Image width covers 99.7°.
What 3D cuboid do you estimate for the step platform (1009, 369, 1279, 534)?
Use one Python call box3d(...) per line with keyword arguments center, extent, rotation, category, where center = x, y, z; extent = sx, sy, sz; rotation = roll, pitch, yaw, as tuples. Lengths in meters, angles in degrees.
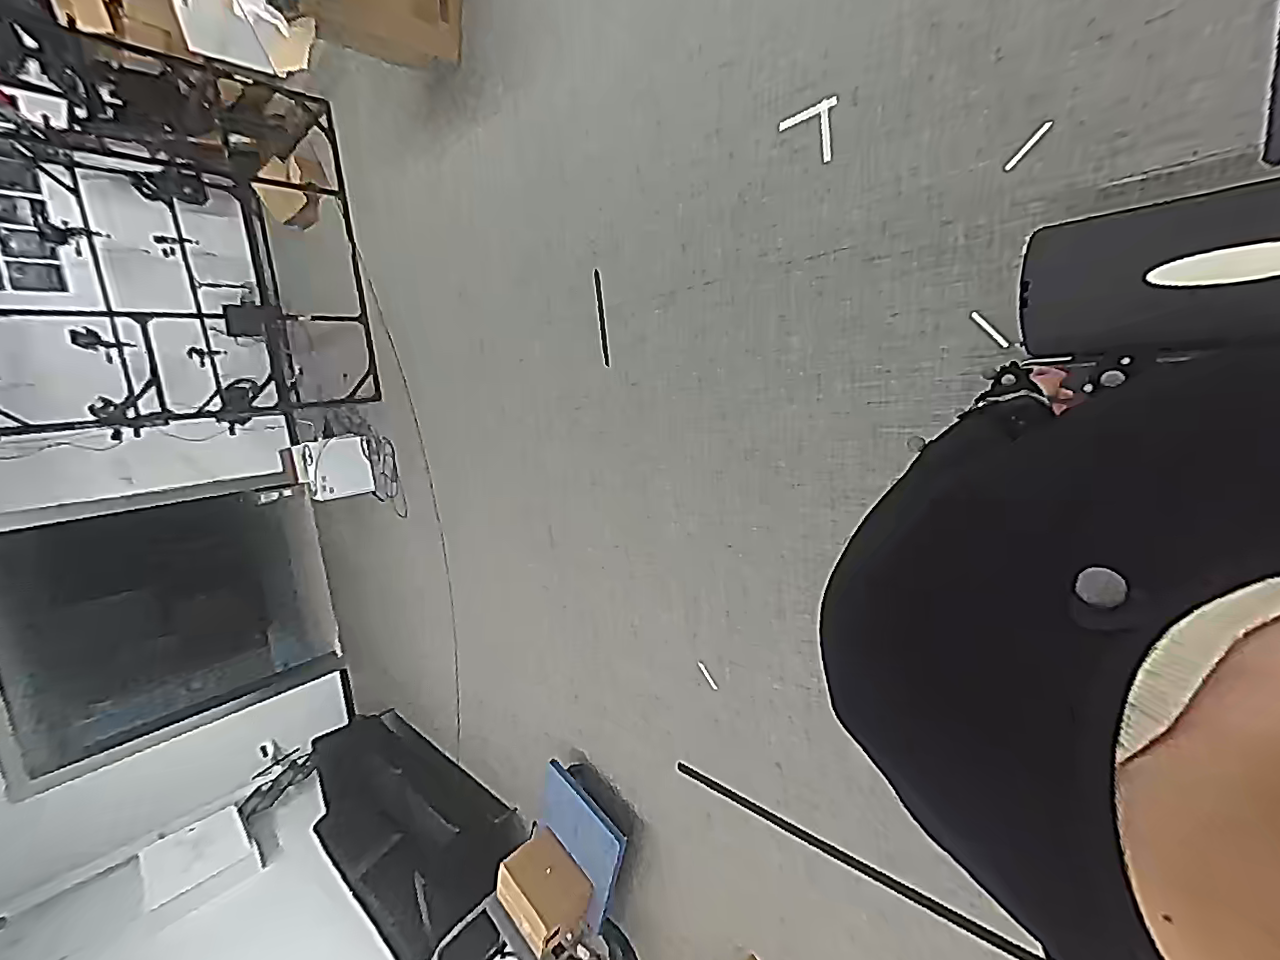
box3d(center=(1.109, -0.063, 1.016), extent=(0.684, 0.204, 0.286), rotation=(12, 107, 44), category="step platform")
